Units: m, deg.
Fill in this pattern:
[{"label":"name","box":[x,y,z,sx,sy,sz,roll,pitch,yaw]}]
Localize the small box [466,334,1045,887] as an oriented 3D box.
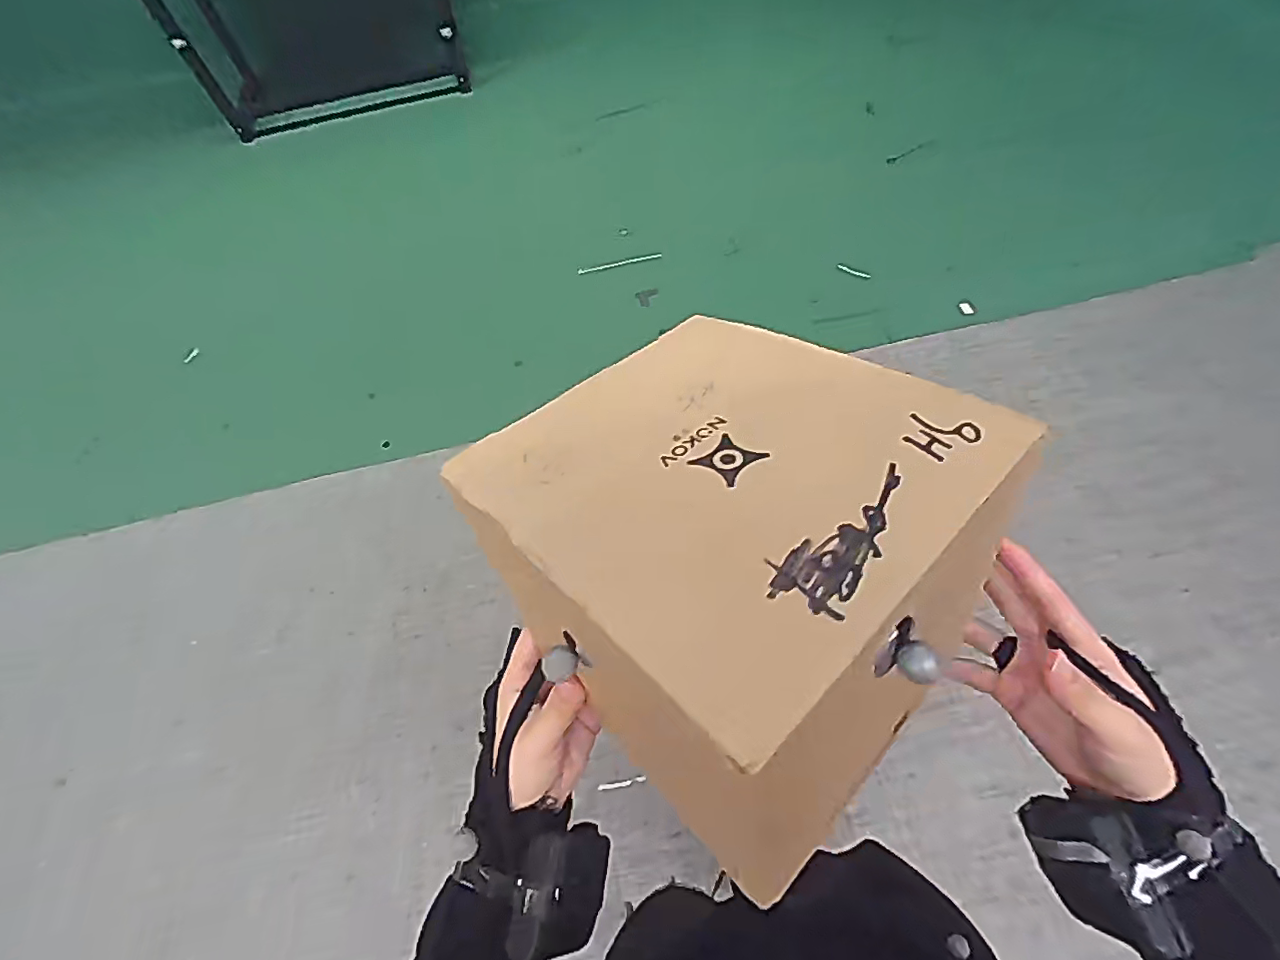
[{"label":"small box","box":[0.049,0.054,0.273,0.168,0.176,0.179,-38,47,-24]}]
